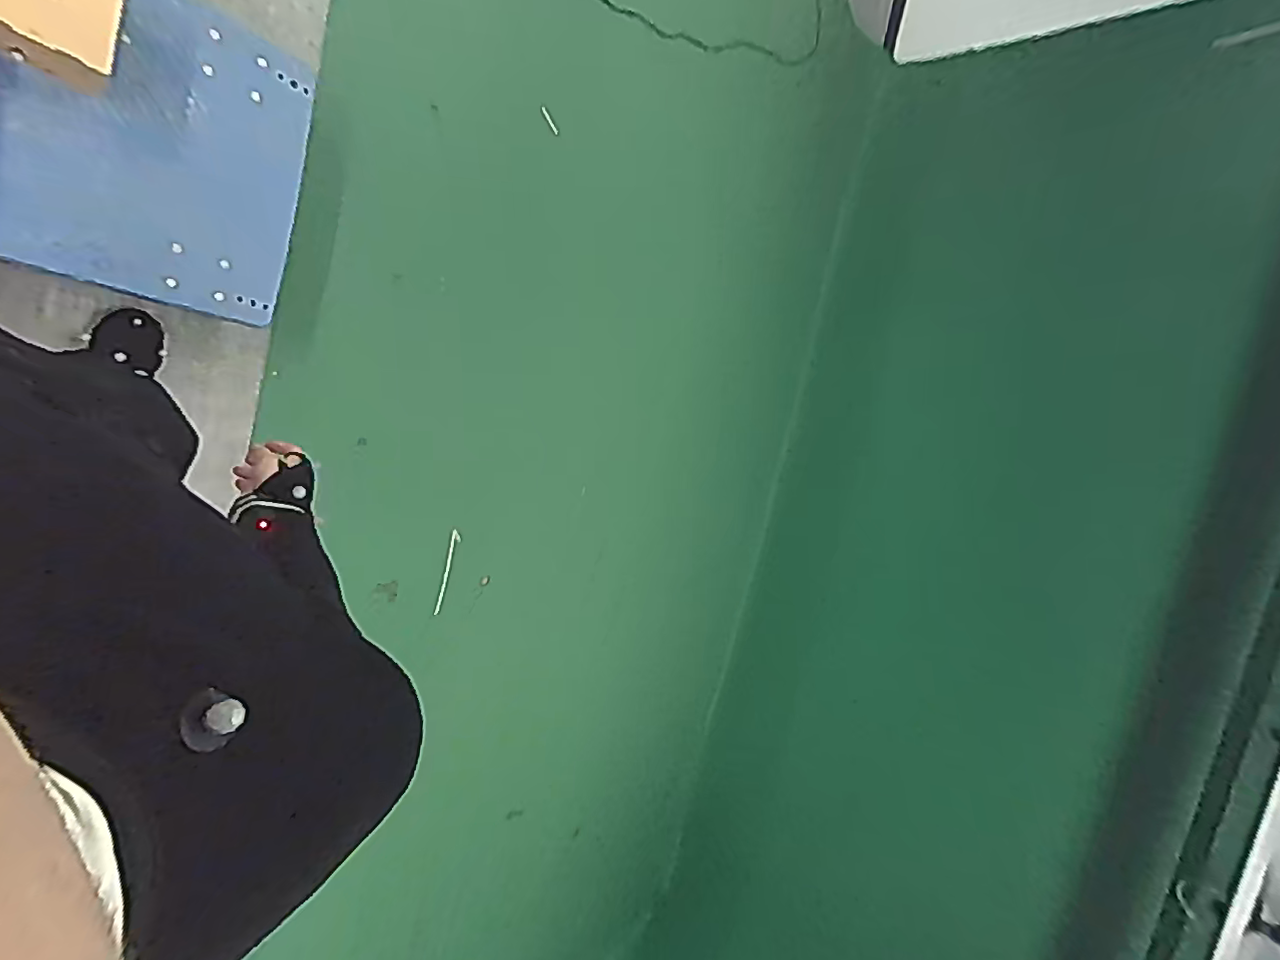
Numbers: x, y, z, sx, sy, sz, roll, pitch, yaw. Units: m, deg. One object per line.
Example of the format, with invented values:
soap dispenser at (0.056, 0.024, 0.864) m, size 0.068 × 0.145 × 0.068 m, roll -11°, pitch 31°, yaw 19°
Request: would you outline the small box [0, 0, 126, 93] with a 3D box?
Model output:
small box at (-0.941, -0.757, 0.849) m, size 0.168 × 0.176 × 0.179 m, roll 8°, pitch 98°, yaw -51°
